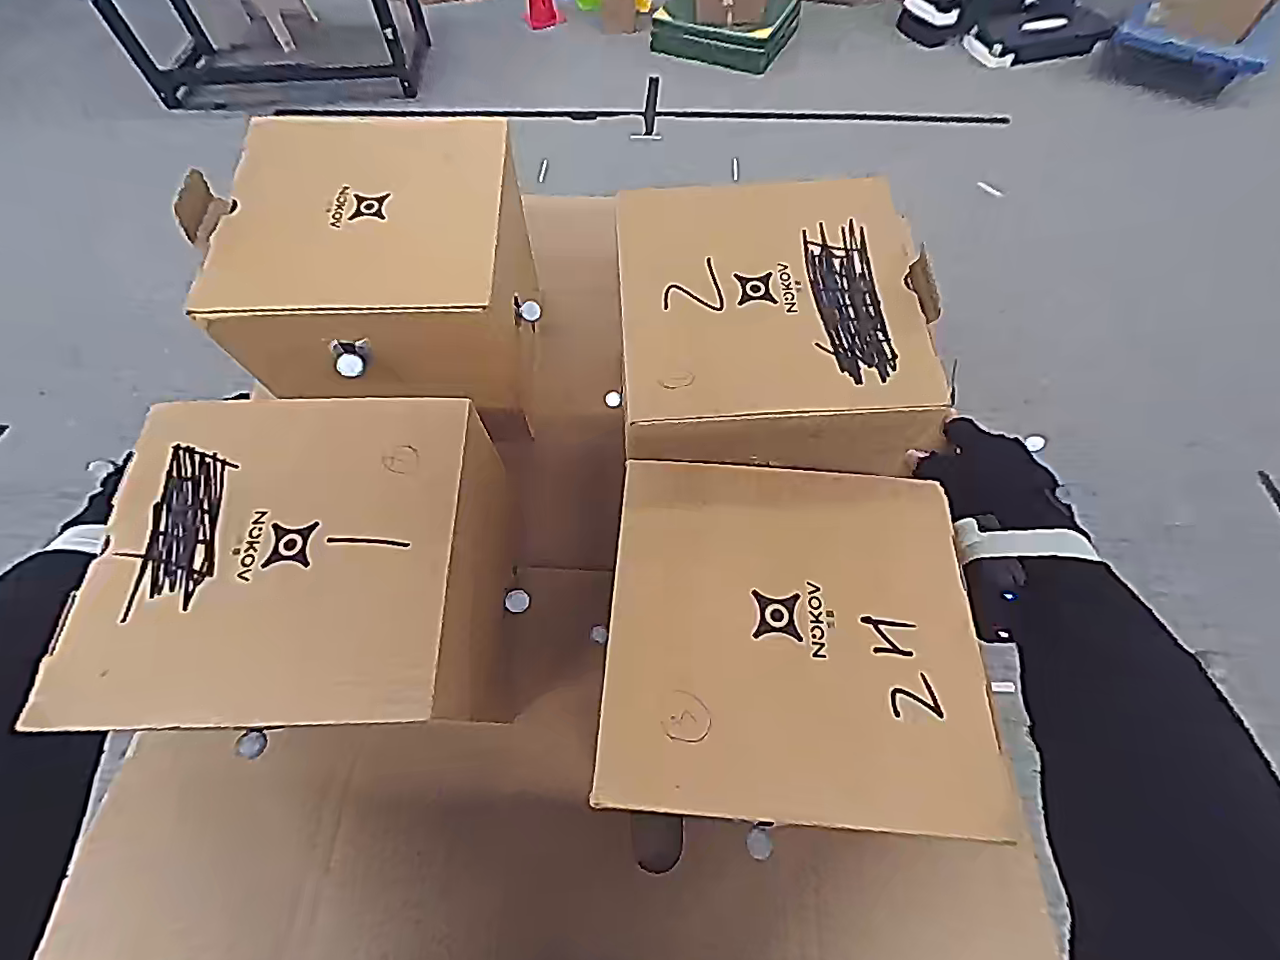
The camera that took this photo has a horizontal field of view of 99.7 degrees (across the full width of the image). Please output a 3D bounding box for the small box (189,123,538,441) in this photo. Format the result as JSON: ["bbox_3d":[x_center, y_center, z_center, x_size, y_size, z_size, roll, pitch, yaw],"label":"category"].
[{"bbox_3d":[-0.179,-0.139,0.420,0.179,0.176,0.168,-1,66,-1],"label":"small box"}]
